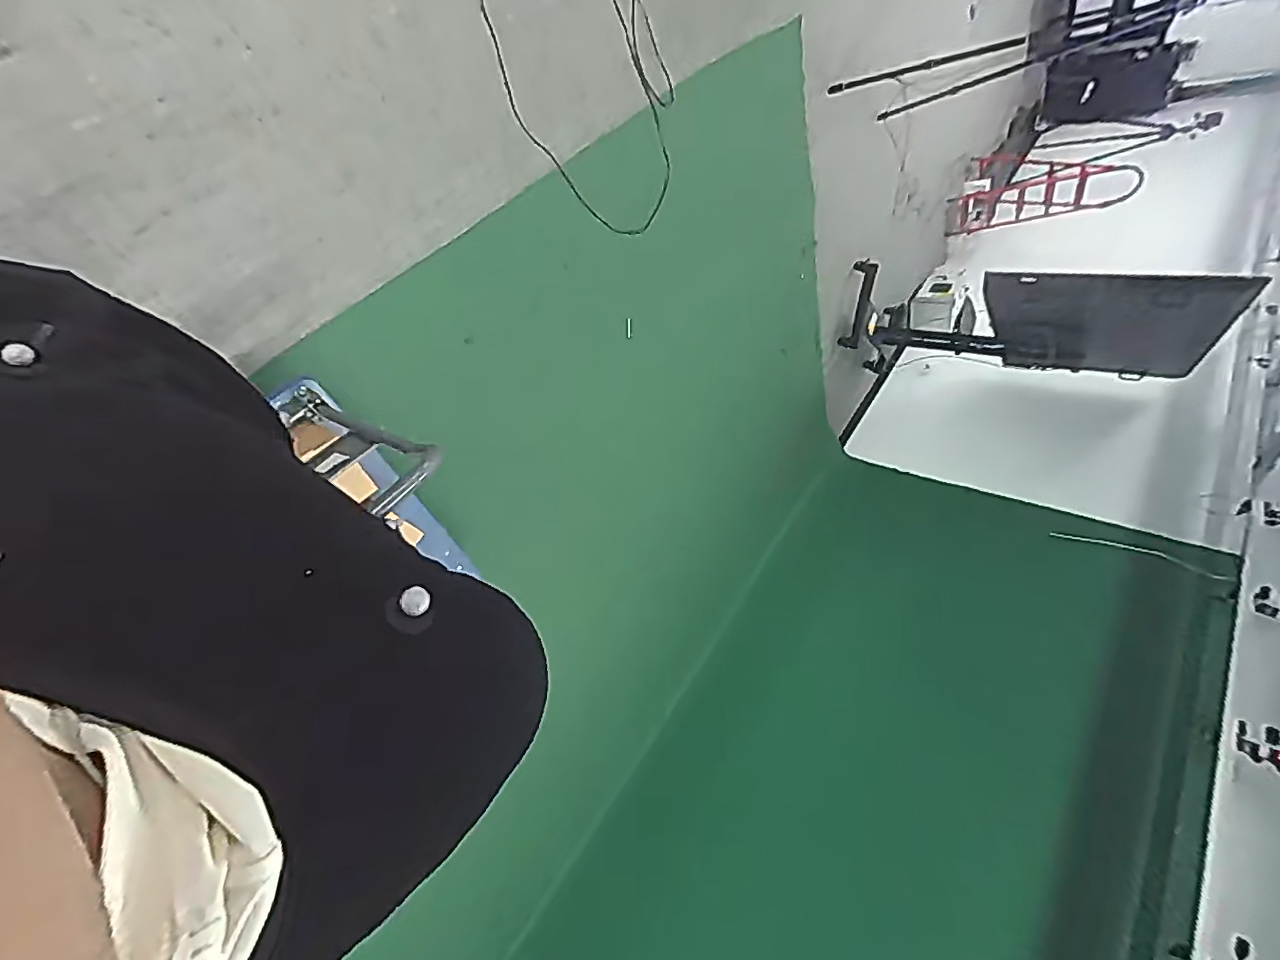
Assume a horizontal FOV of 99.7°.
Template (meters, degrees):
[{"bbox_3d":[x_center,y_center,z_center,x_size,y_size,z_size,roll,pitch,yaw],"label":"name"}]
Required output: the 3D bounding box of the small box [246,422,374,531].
[{"bbox_3d":[-0.781,-0.014,1.285,0.168,0.176,0.179,-46,137,-29],"label":"small box"}]

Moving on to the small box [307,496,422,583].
[{"bbox_3d":[-0.727,0.141,1.423,0.168,0.176,0.179,-57,142,-17],"label":"small box"}]
